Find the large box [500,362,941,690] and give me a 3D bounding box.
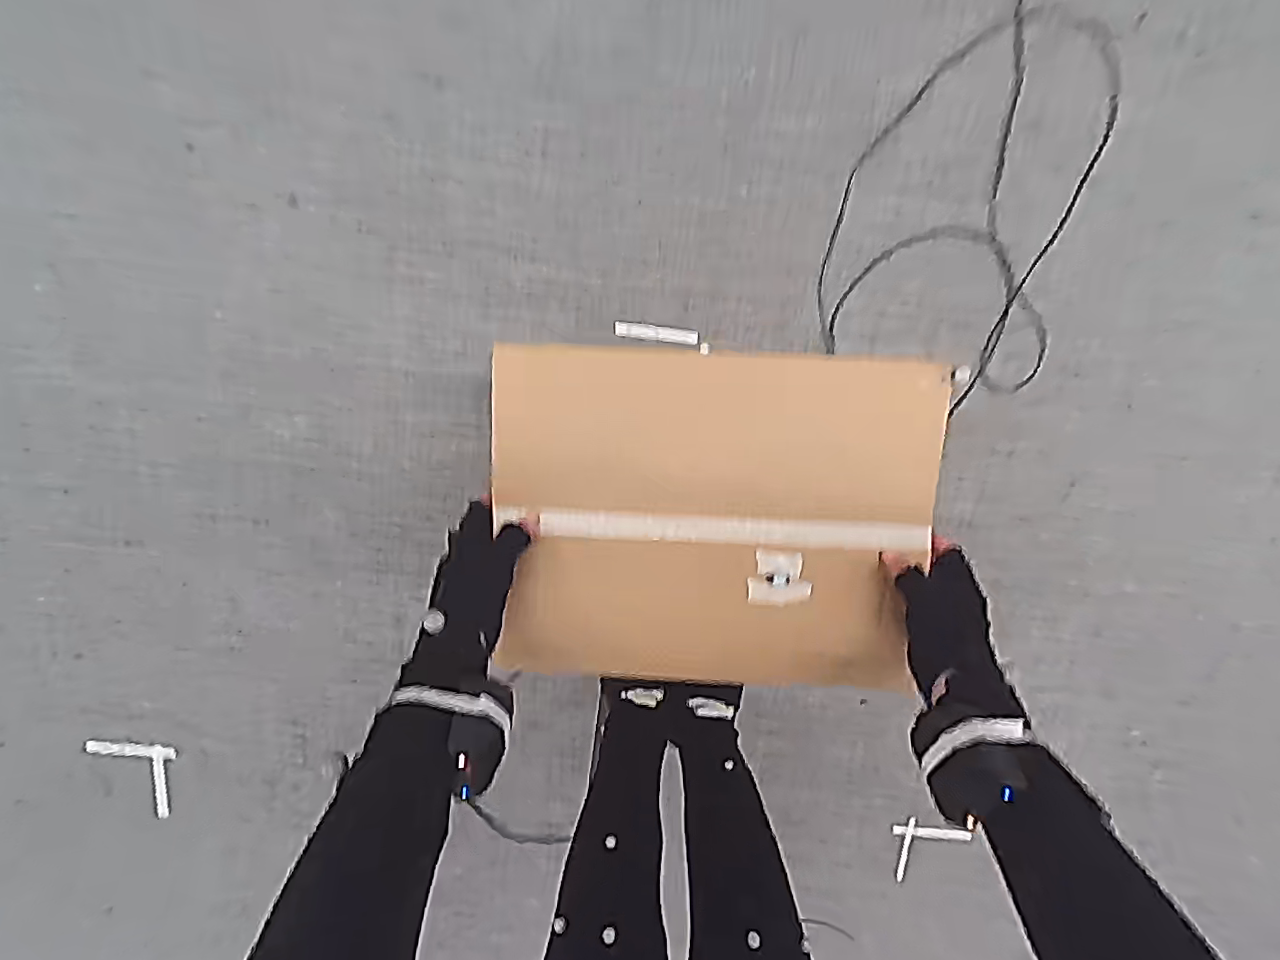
[{"bbox_3d":[0.070,0.027,0.656,0.408,0.320,0.320,2,101,1],"label":"large box"}]
